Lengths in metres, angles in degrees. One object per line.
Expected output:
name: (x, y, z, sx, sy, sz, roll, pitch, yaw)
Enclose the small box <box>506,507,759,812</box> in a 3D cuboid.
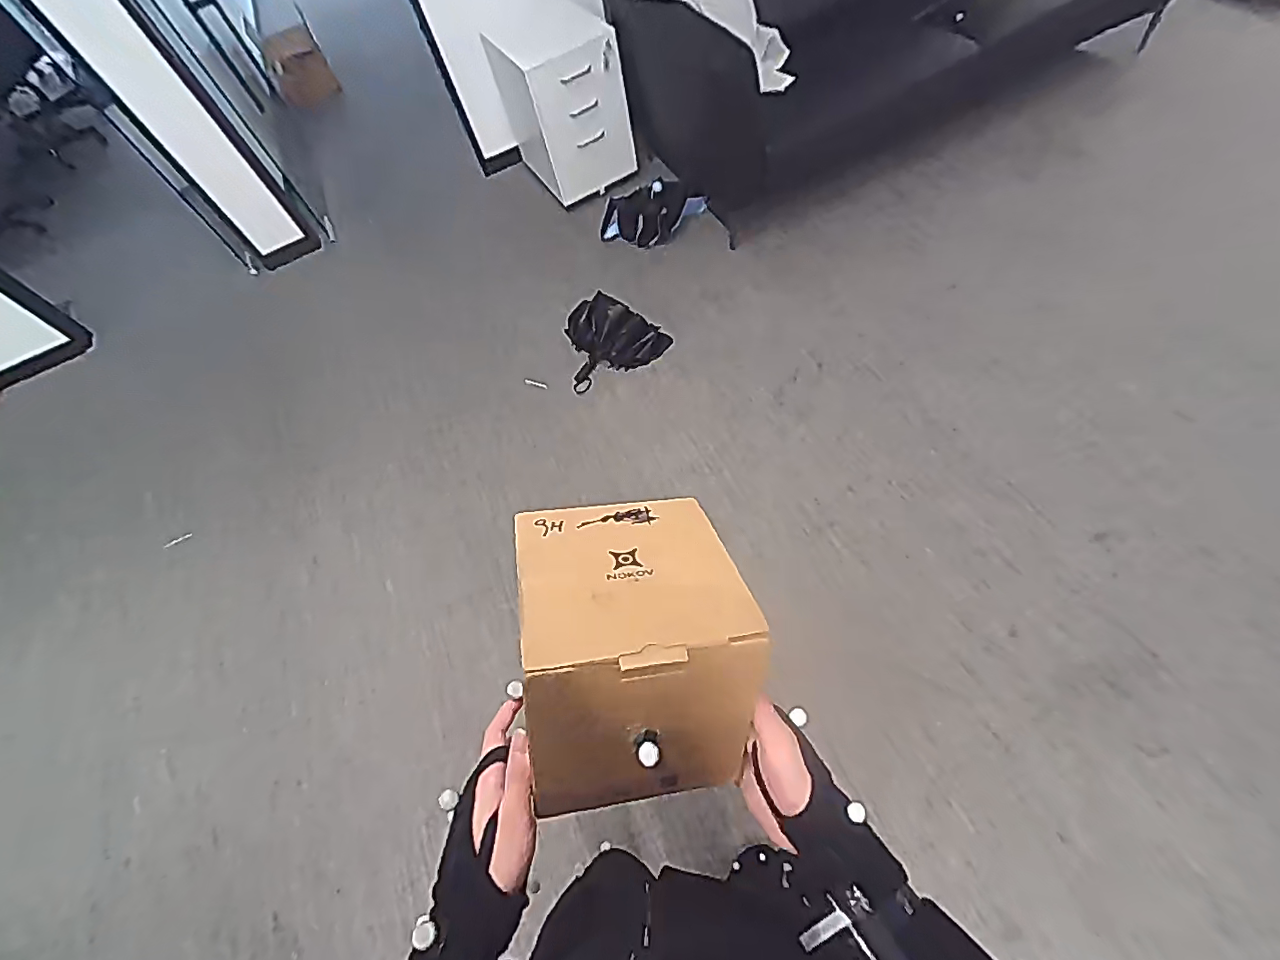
small box: (-0.020, 0.144, 0.447, 0.168, 0.176, 0.179, -3, 32, -12)
